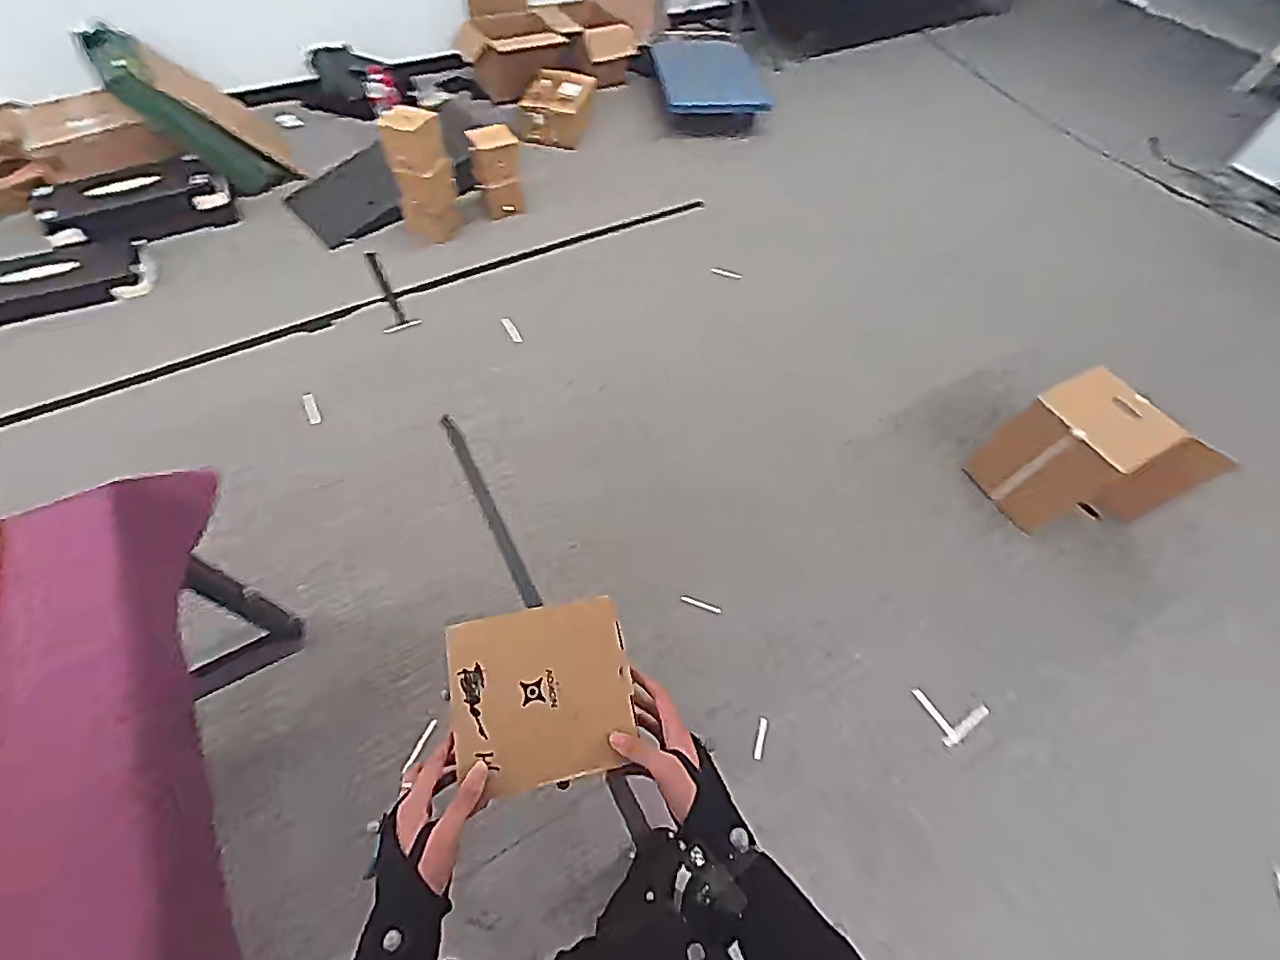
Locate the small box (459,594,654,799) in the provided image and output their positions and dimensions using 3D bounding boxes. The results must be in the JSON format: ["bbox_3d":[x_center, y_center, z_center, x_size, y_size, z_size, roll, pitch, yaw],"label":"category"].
[{"bbox_3d":[-0.092,0.235,0.605,0.179,0.176,0.168,-8,67,-8],"label":"small box"}]
